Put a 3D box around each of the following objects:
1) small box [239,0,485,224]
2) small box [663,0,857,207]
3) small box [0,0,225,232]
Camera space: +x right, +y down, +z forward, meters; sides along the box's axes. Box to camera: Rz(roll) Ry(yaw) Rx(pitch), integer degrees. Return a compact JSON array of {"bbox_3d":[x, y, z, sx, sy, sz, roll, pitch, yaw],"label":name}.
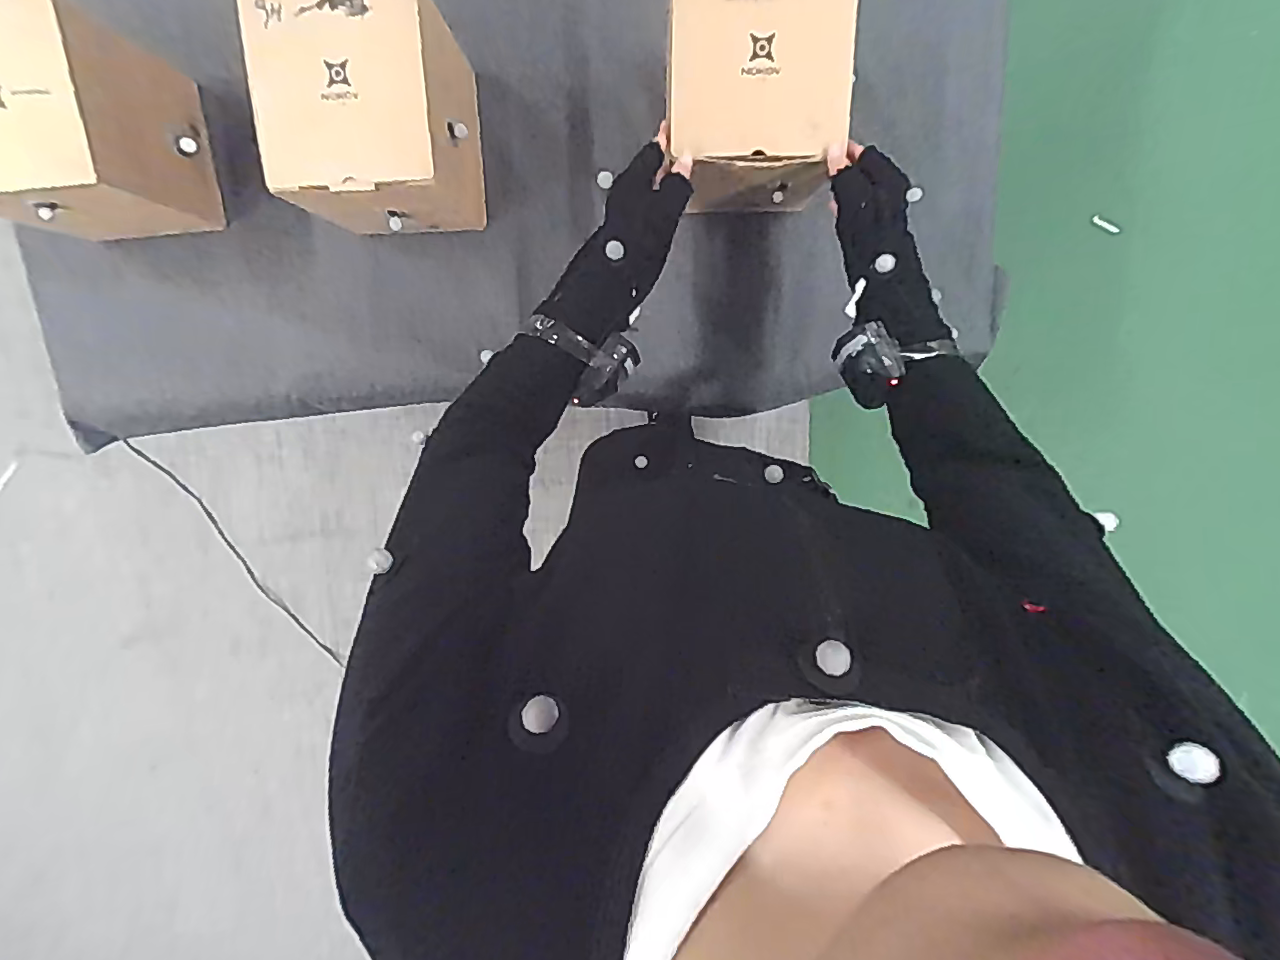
[{"bbox_3d":[-0.272,-0.381,0.573,0.168,0.176,0.179,-1,102,2],"label":"small box"},{"bbox_3d":[0.110,-0.398,0.562,0.168,0.176,0.179,0,100,0],"label":"small box"},{"bbox_3d":[-0.604,-0.376,0.579,0.179,0.176,0.168,-4,102,1],"label":"small box"}]
